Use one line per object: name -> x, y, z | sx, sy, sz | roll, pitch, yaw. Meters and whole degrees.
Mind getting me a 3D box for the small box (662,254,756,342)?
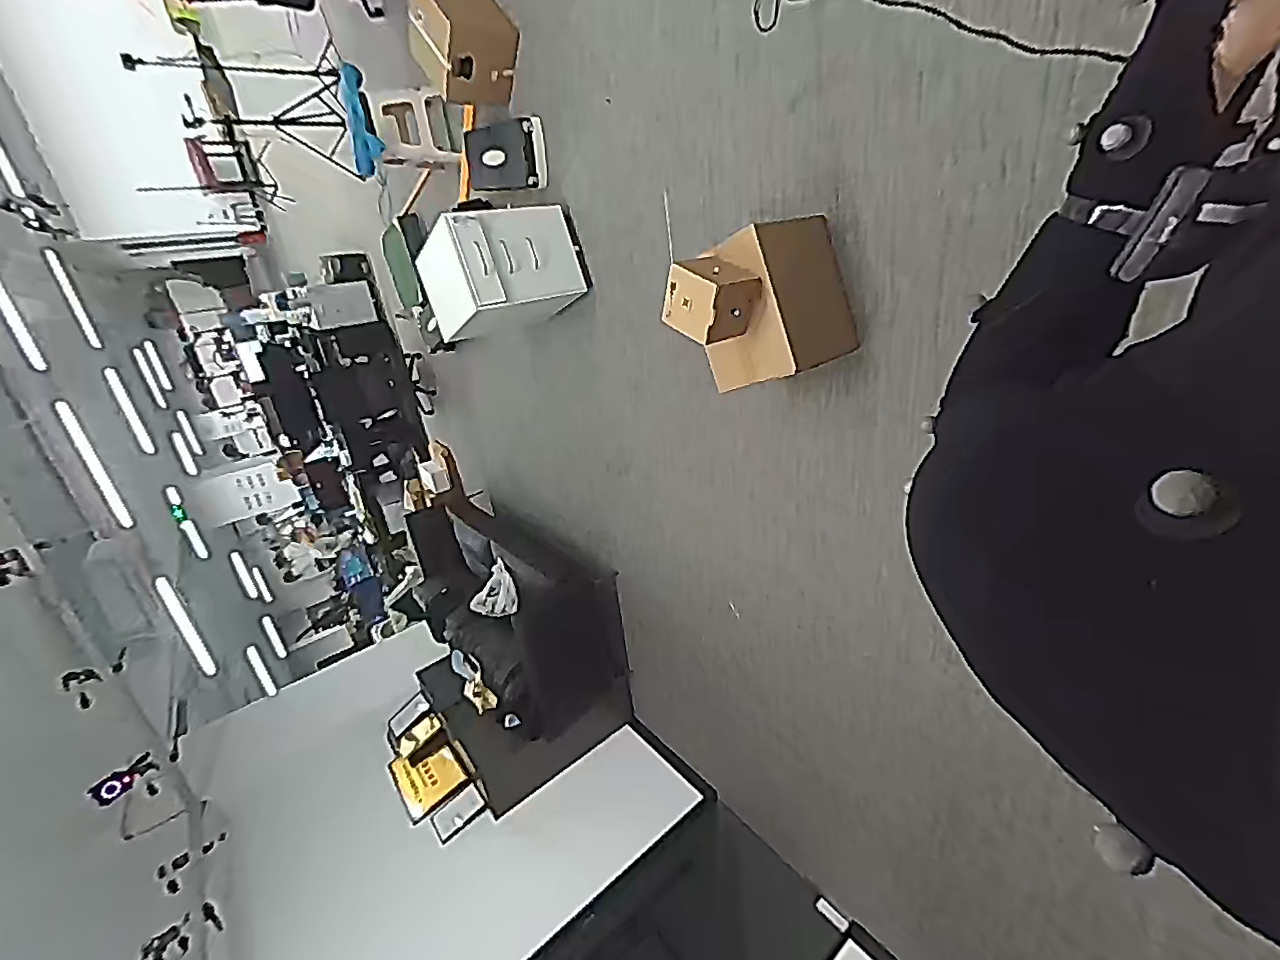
small box -> 0.188, -0.503, 1.475 | 0.179, 0.176, 0.168 | 40, 139, 31
